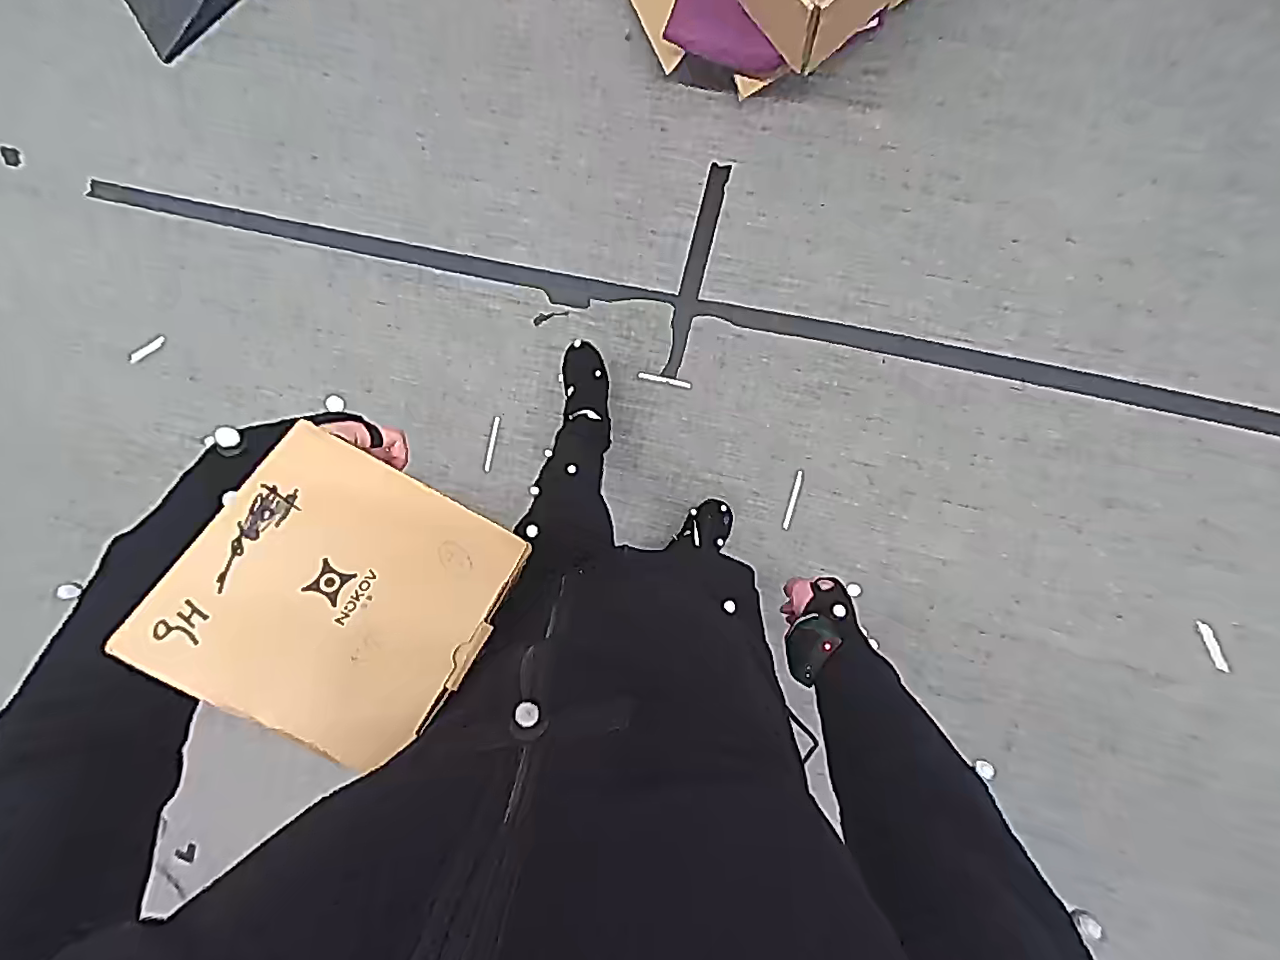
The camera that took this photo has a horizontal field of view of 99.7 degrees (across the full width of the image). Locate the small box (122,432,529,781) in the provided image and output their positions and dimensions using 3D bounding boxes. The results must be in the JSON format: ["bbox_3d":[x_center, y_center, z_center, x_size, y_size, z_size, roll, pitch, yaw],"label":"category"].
[{"bbox_3d":[-0.208,0.095,0.418,0.179,0.176,0.168,29,67,-6],"label":"small box"}]
